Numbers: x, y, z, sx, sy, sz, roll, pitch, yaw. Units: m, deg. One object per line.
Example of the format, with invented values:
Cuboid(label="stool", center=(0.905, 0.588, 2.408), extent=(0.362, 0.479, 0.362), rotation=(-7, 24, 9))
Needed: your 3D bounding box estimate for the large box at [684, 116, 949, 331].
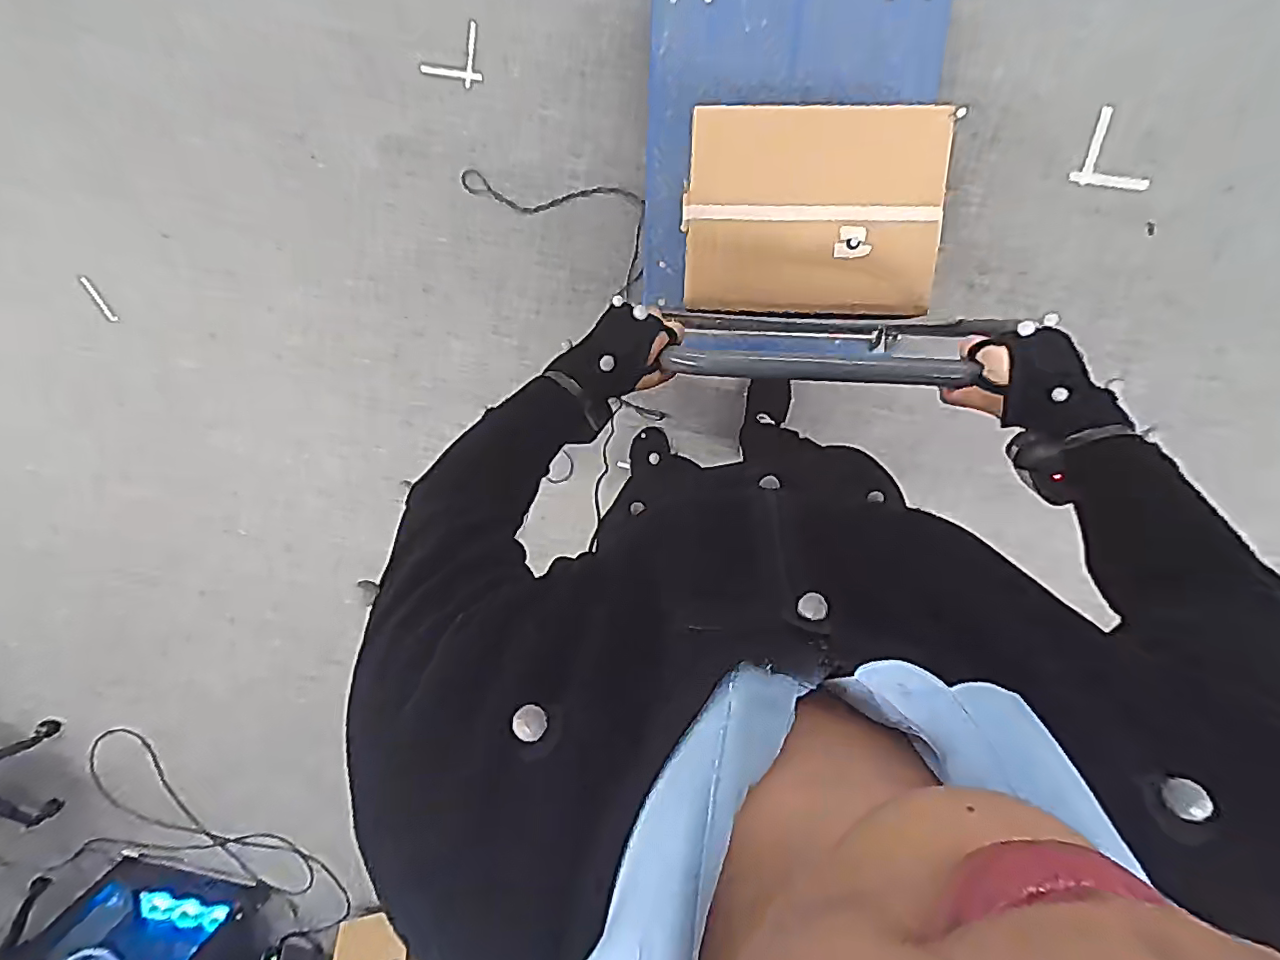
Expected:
Cuboid(label="large box", center=(0.288, -0.452, 1.026), extent=(0.408, 0.320, 0.320), rotation=(3, 103, 4))
